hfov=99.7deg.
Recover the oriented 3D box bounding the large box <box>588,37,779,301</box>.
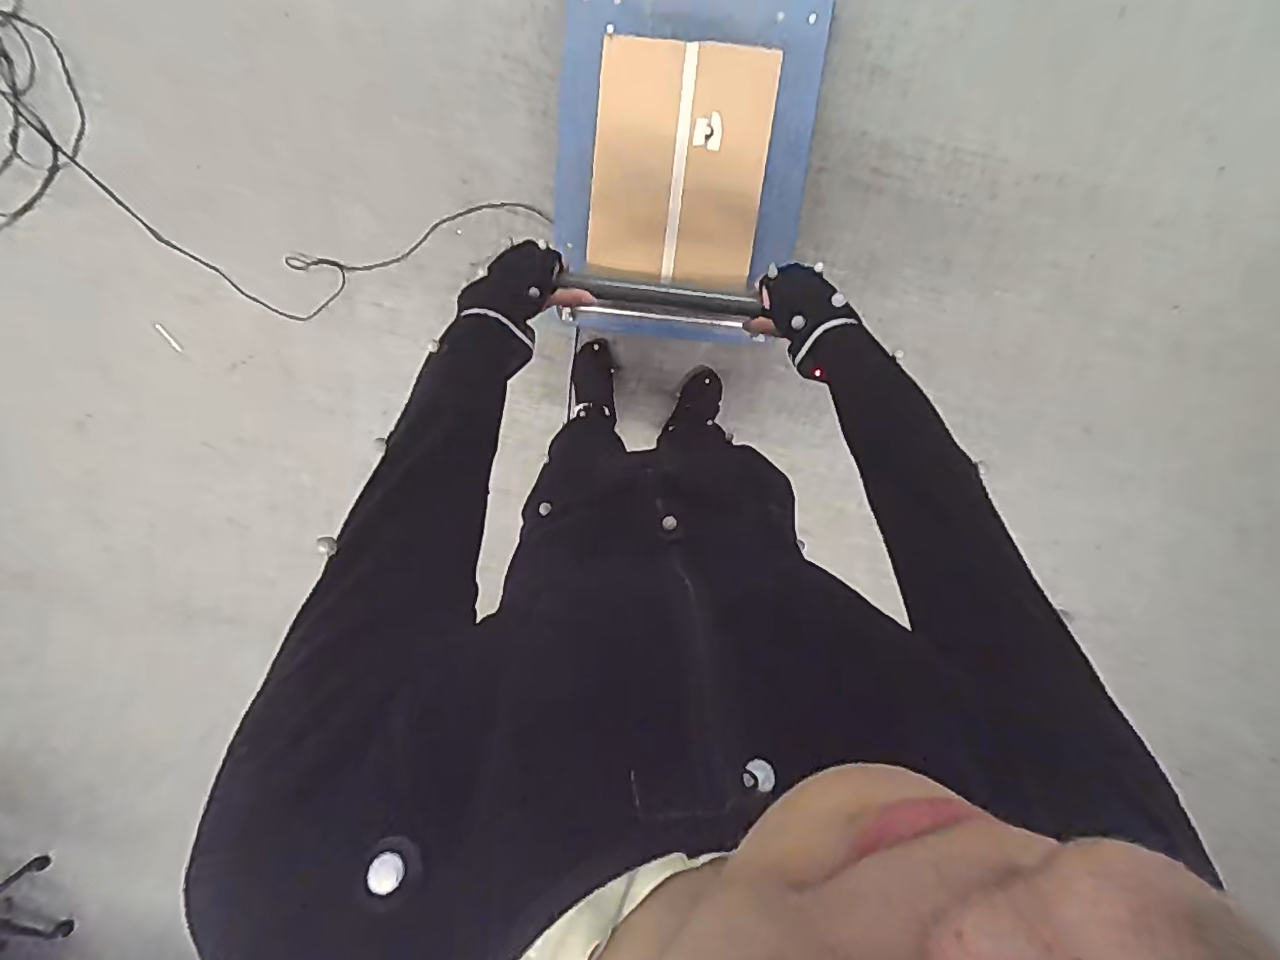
[{"bbox_3d":[0.083,-0.600,1.126,0.320,0.320,0.408,7,105,2],"label":"large box"}]
